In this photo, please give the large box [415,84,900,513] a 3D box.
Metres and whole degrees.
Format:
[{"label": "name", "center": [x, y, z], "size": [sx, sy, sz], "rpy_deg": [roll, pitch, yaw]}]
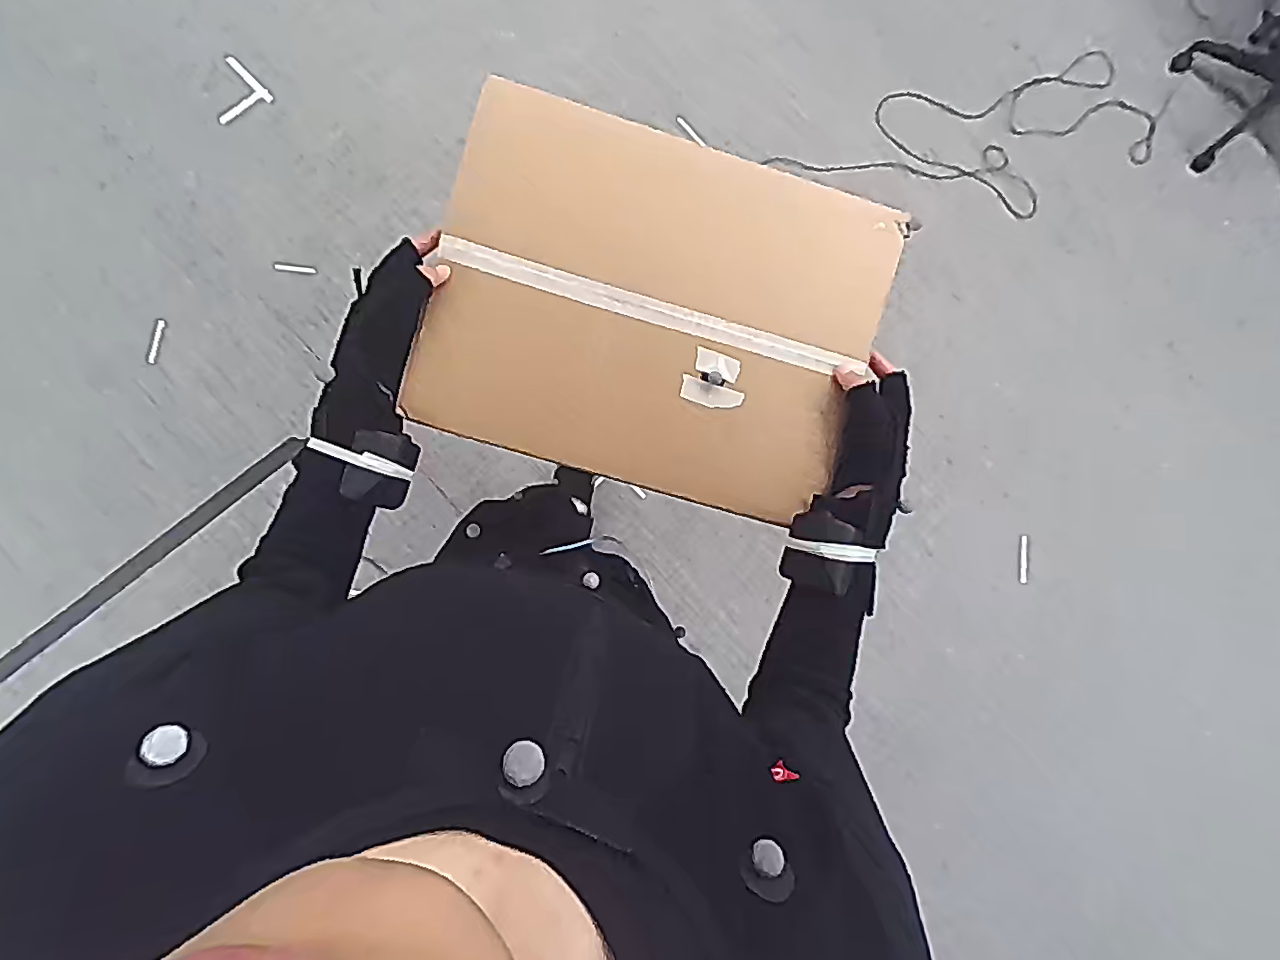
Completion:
[{"label": "large box", "center": [0.009, -0.170, 0.655], "size": [0.408, 0.320, 0.320], "rpy_deg": [16, 92, -5]}]
